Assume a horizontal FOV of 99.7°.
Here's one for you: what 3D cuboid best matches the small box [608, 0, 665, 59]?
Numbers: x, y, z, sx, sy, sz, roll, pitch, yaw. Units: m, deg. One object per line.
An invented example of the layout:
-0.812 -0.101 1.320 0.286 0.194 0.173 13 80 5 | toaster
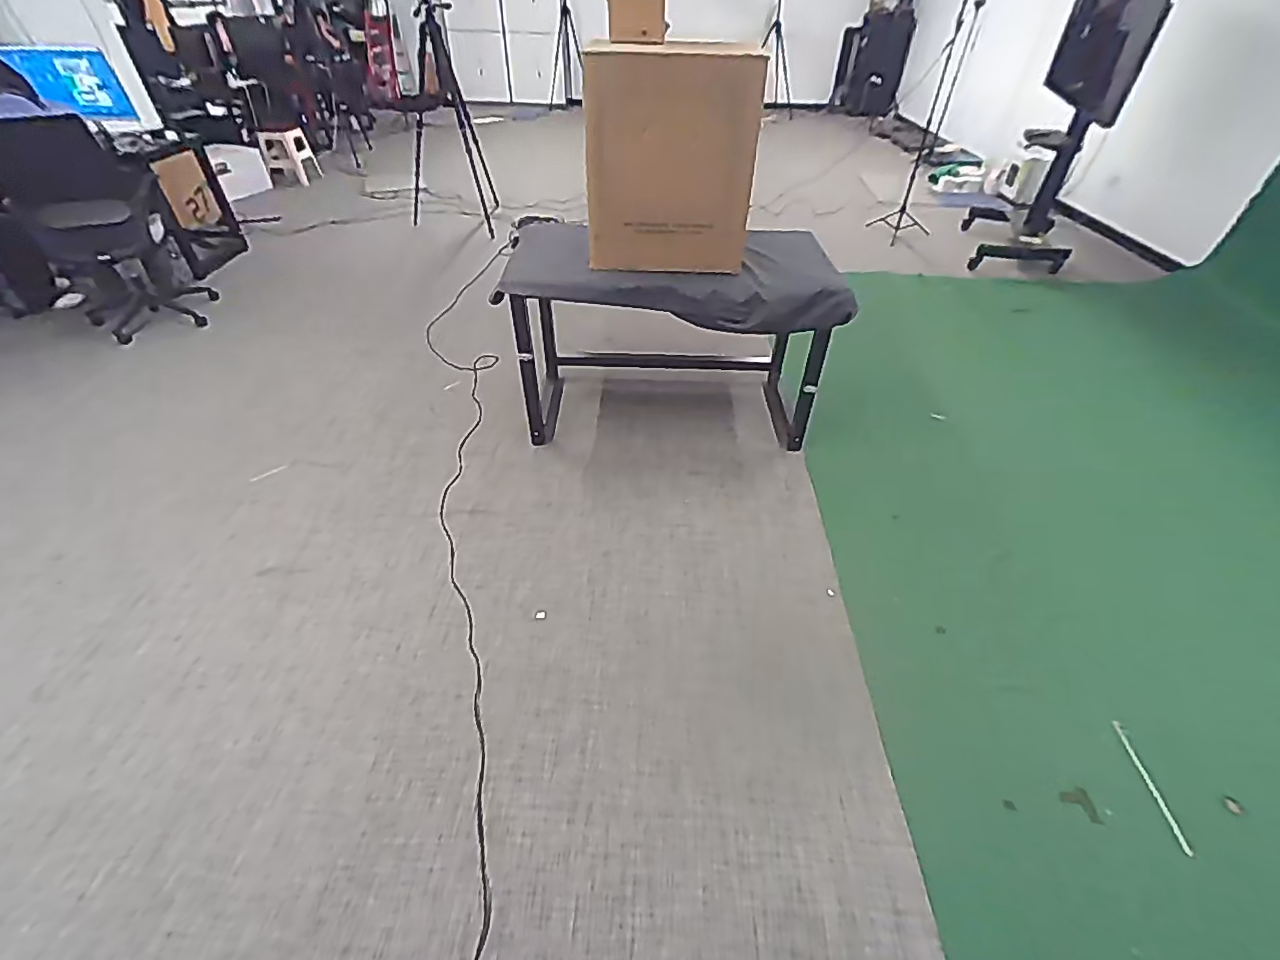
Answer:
-0.011 -1.394 1.643 0.168 0.176 0.179 1 40 1 | small box
